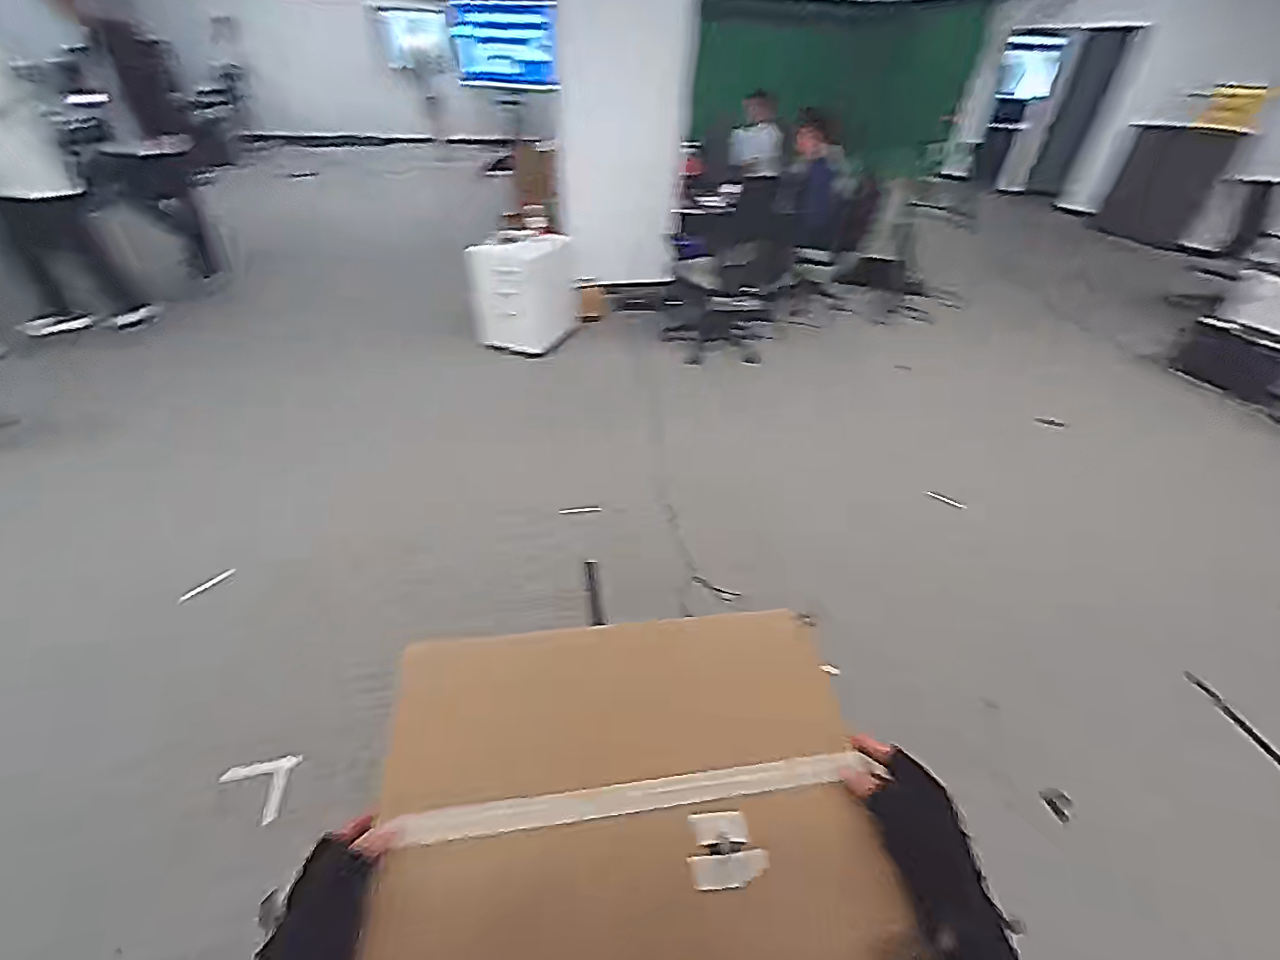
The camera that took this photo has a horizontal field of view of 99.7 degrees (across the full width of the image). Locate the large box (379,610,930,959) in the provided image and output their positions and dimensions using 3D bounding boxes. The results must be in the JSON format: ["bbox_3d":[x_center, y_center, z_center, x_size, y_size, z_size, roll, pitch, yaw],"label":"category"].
[{"bbox_3d":[-0.013,0.366,0.571,0.408,0.320,0.320,-2,48,-9],"label":"large box"}]
